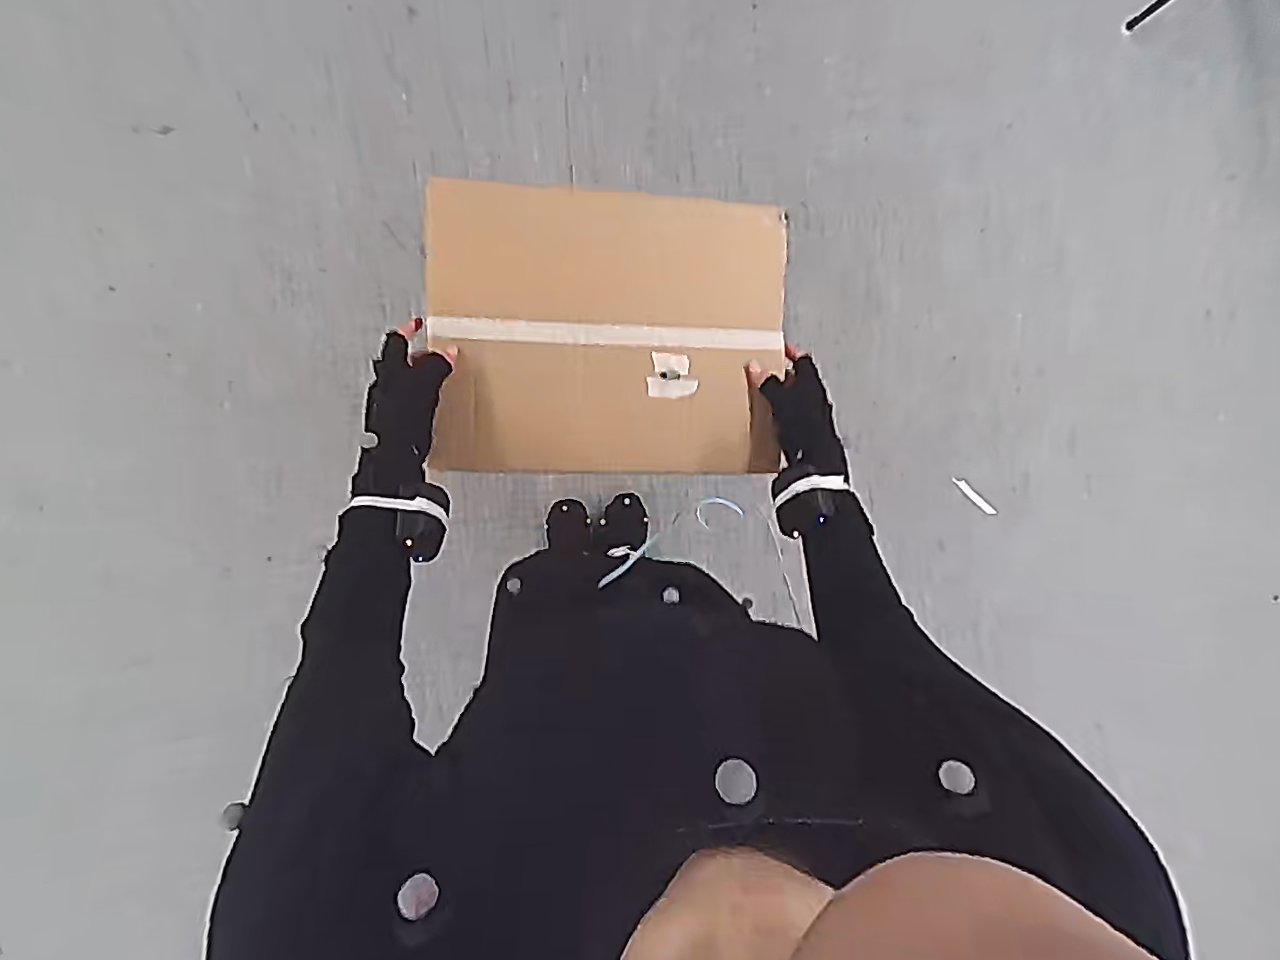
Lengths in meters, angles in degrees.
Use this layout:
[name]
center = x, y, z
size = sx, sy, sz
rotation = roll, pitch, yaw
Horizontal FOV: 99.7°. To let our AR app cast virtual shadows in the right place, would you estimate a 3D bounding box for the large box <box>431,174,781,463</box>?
[large box]
center = -0.054, -0.186, 0.764
size = 0.408, 0.320, 0.320
rotation = 0, 95, -9
